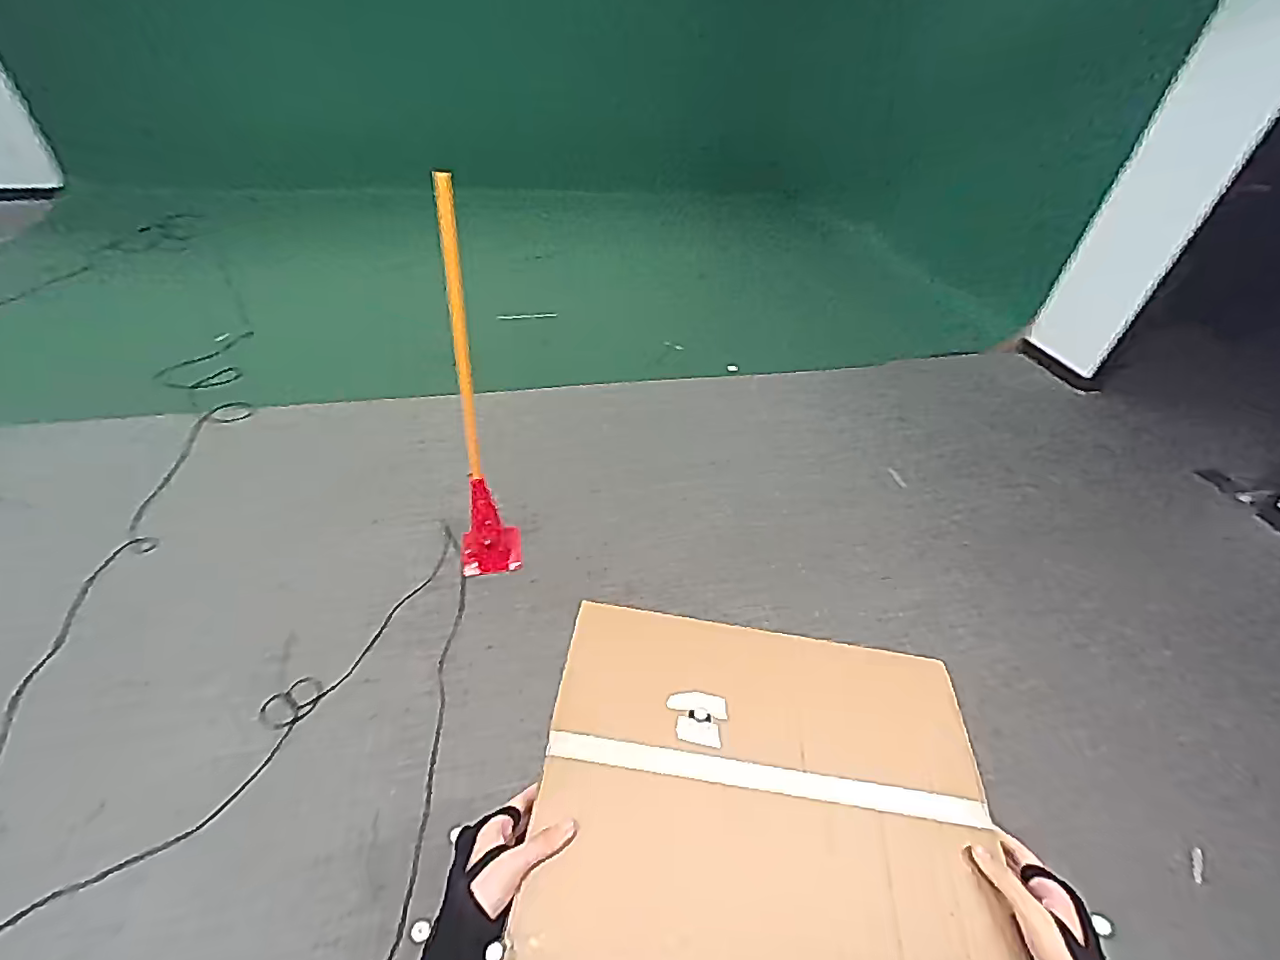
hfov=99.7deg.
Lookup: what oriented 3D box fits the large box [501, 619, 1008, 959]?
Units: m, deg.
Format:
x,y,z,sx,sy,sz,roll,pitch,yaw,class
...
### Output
x,y,z,sx,sy,sz,roll,pitch,yaw,class
0.097,0.392,0.605,0.408,0.320,0.320,8,44,2,large box
